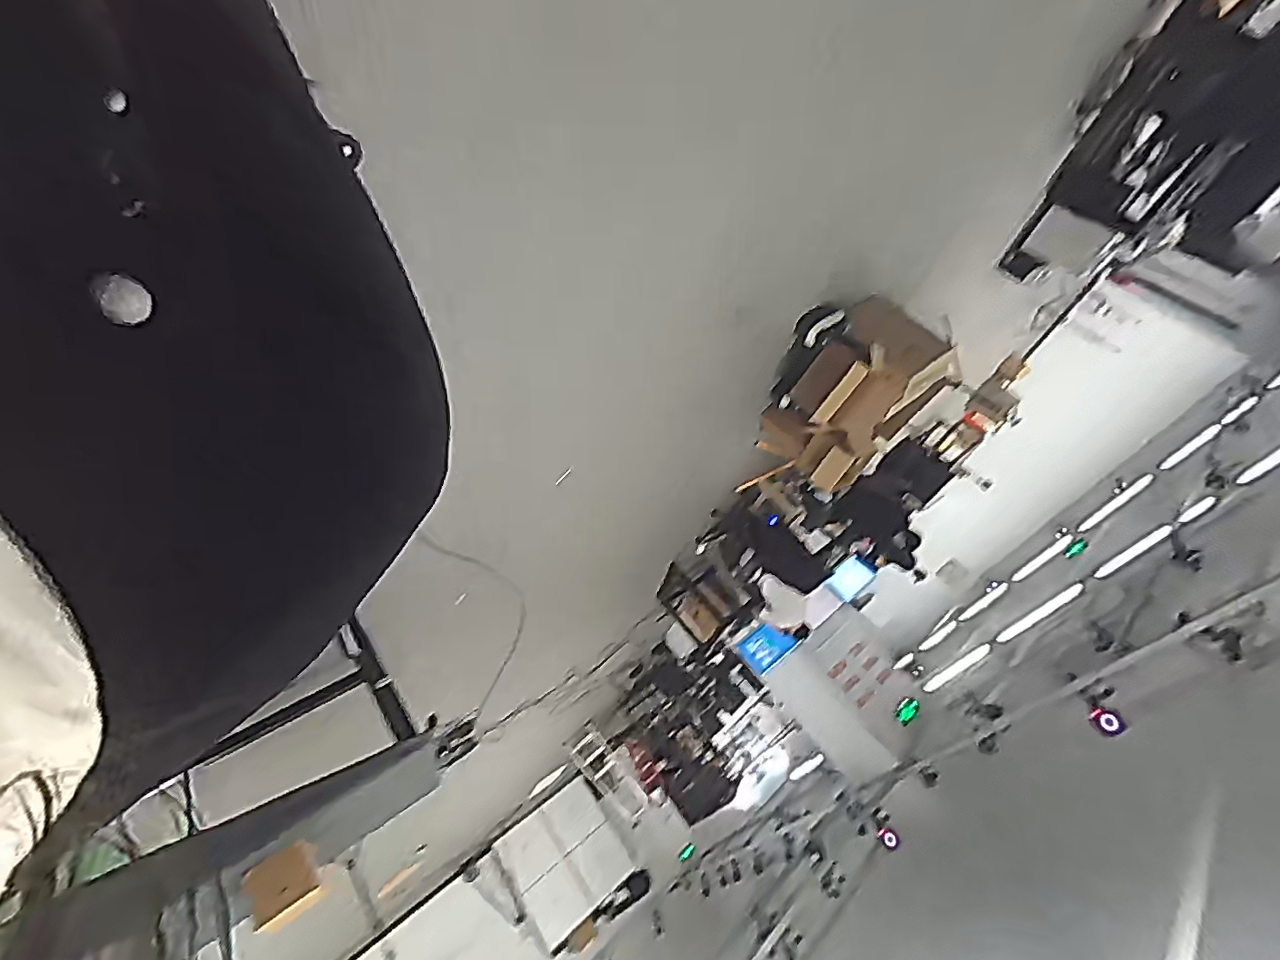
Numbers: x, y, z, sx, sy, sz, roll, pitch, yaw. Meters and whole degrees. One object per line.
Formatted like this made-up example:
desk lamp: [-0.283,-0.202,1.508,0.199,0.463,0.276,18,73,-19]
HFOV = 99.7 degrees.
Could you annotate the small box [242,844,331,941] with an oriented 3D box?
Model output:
small box: [-1.110,1.294,1.703,0.179,0.176,0.168,-24,148,-33]
